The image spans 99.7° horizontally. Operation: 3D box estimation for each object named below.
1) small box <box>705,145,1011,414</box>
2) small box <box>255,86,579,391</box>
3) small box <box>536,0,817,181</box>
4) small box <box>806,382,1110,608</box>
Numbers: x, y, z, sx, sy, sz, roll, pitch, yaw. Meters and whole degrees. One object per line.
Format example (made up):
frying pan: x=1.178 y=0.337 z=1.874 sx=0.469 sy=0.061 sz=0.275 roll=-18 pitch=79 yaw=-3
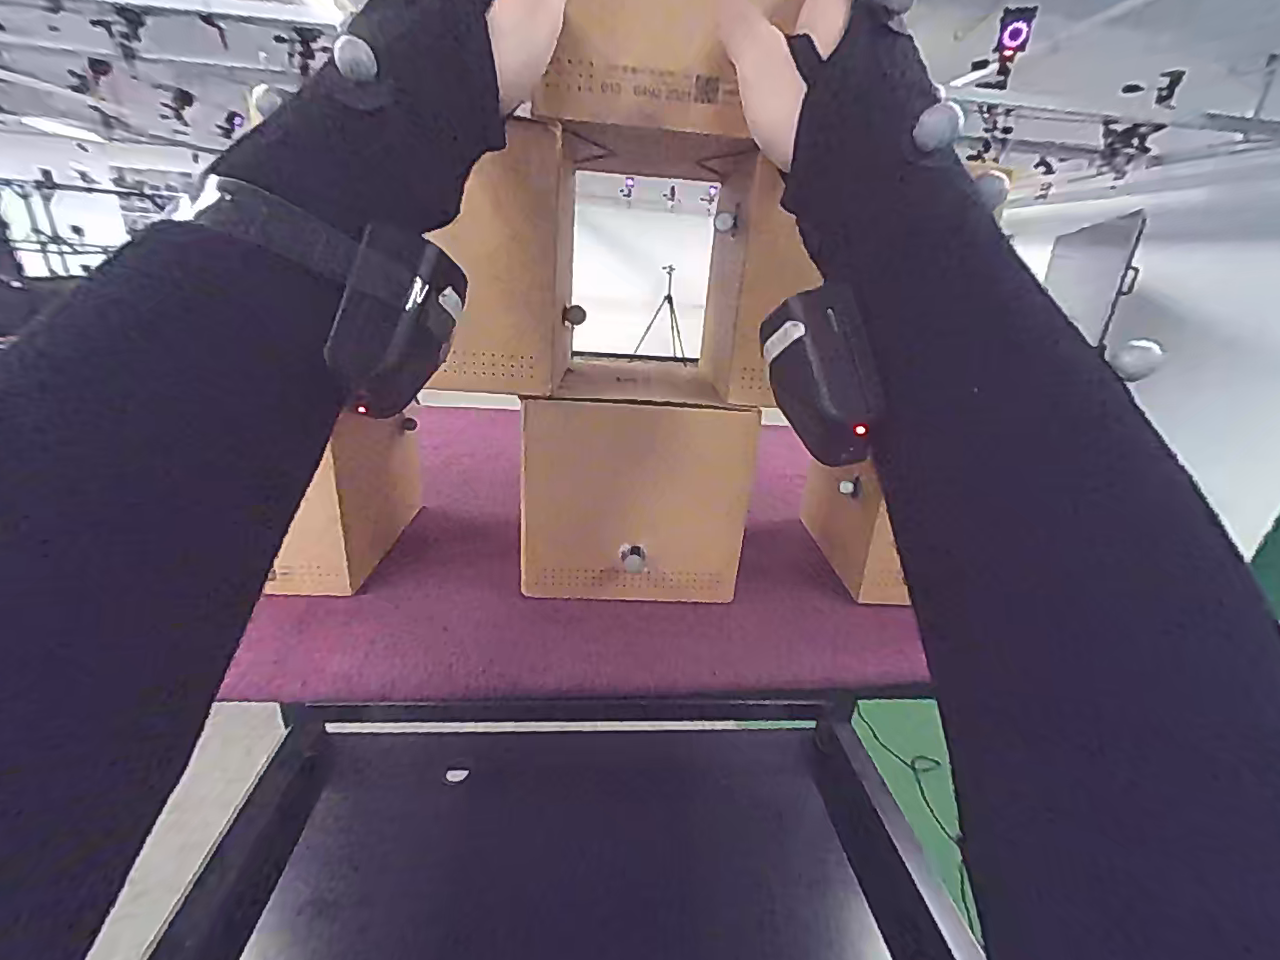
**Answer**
small box: x=0.149 y=-0.156 z=0.443 sx=0.168 sy=0.176 sz=0.179 roll=4 pitch=21 yaw=-2
small box: x=-0.141 y=-0.166 z=0.411 sx=0.179 sy=0.176 sz=0.168 roll=4 pitch=21 yaw=-4
small box: x=0.019 y=-0.313 z=0.374 sx=0.168 sy=0.176 sz=0.179 roll=2 pitch=20 yaw=-5
small box: x=0.270 y=0.004 z=0.510 sx=0.168 sy=0.176 sz=0.179 roll=4 pitch=20 yaw=-1
